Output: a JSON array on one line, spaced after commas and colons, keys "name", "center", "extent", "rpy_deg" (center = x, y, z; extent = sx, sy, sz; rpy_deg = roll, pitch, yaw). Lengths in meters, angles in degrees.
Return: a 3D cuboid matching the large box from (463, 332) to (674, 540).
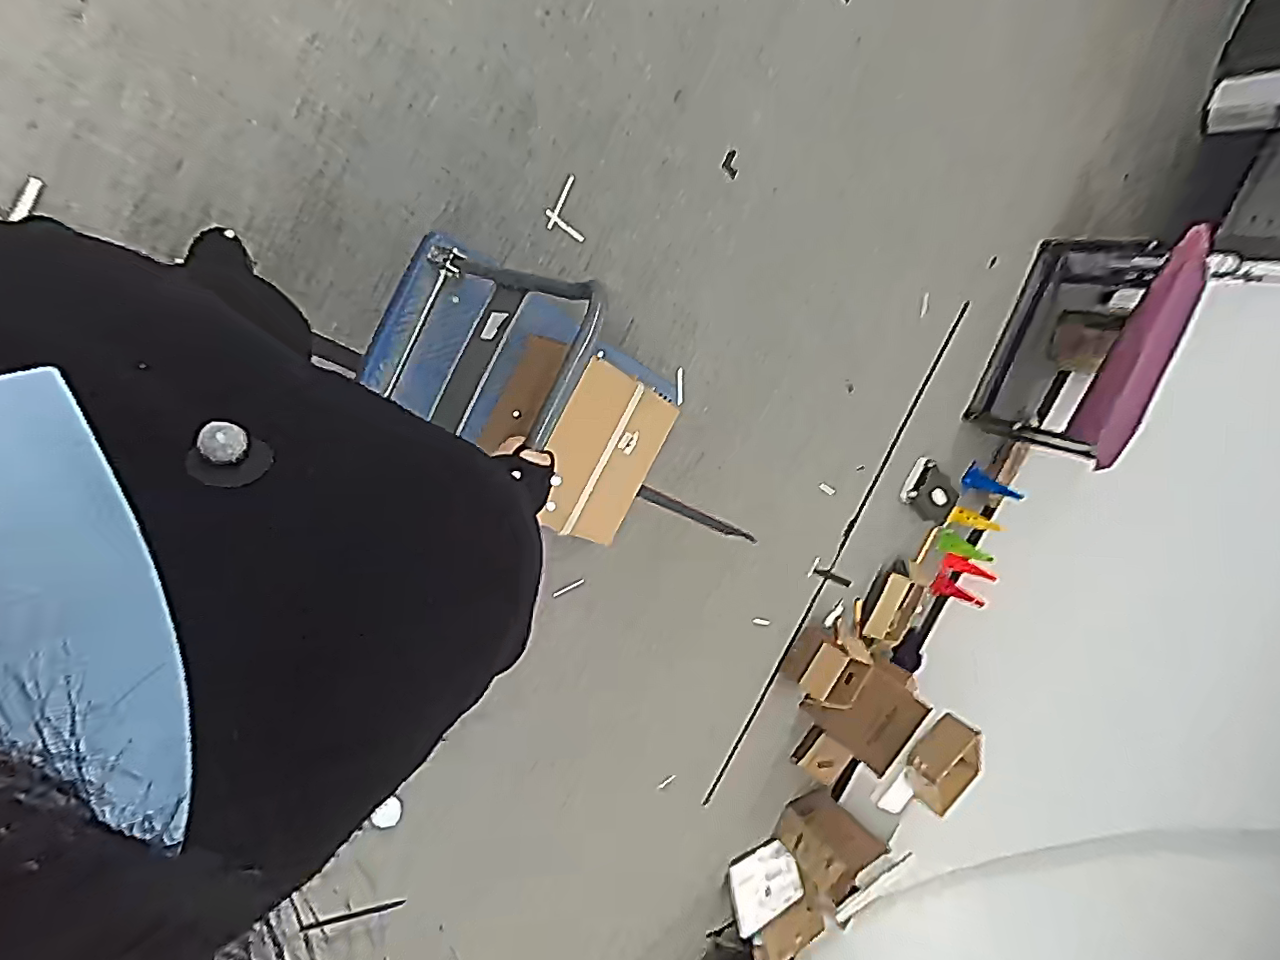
[{"name": "large box", "center": [-0.189, -0.113, 1.383], "extent": [0.320, 0.320, 0.408], "rpy_deg": [26, 92, -44]}]
